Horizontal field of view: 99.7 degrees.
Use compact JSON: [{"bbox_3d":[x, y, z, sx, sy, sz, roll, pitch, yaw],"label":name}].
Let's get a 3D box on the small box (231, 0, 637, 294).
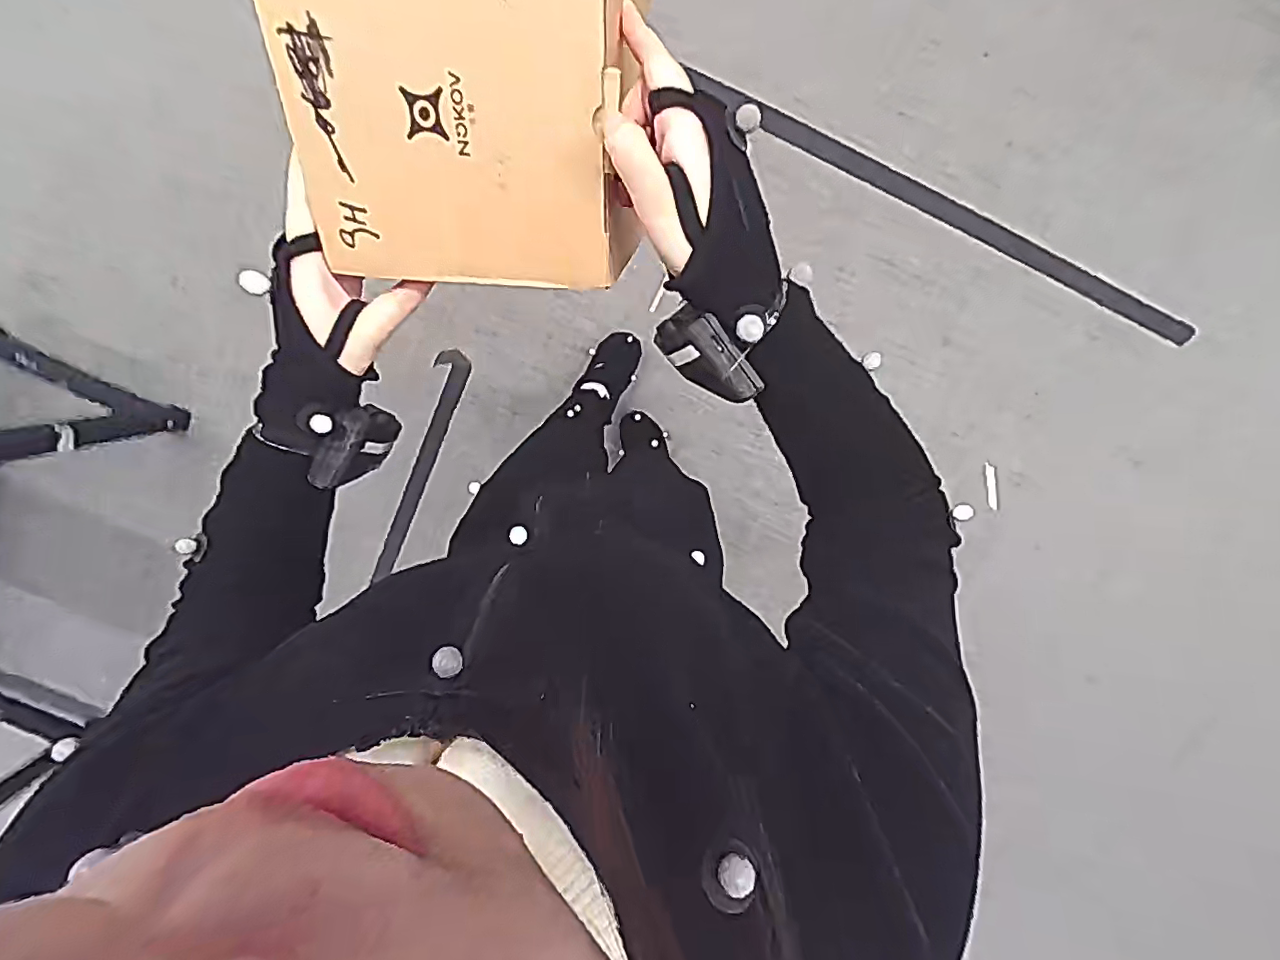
[{"bbox_3d":[-0.096,-0.224,0.333,0.179,0.176,0.168,5,123,4],"label":"small box"}]
